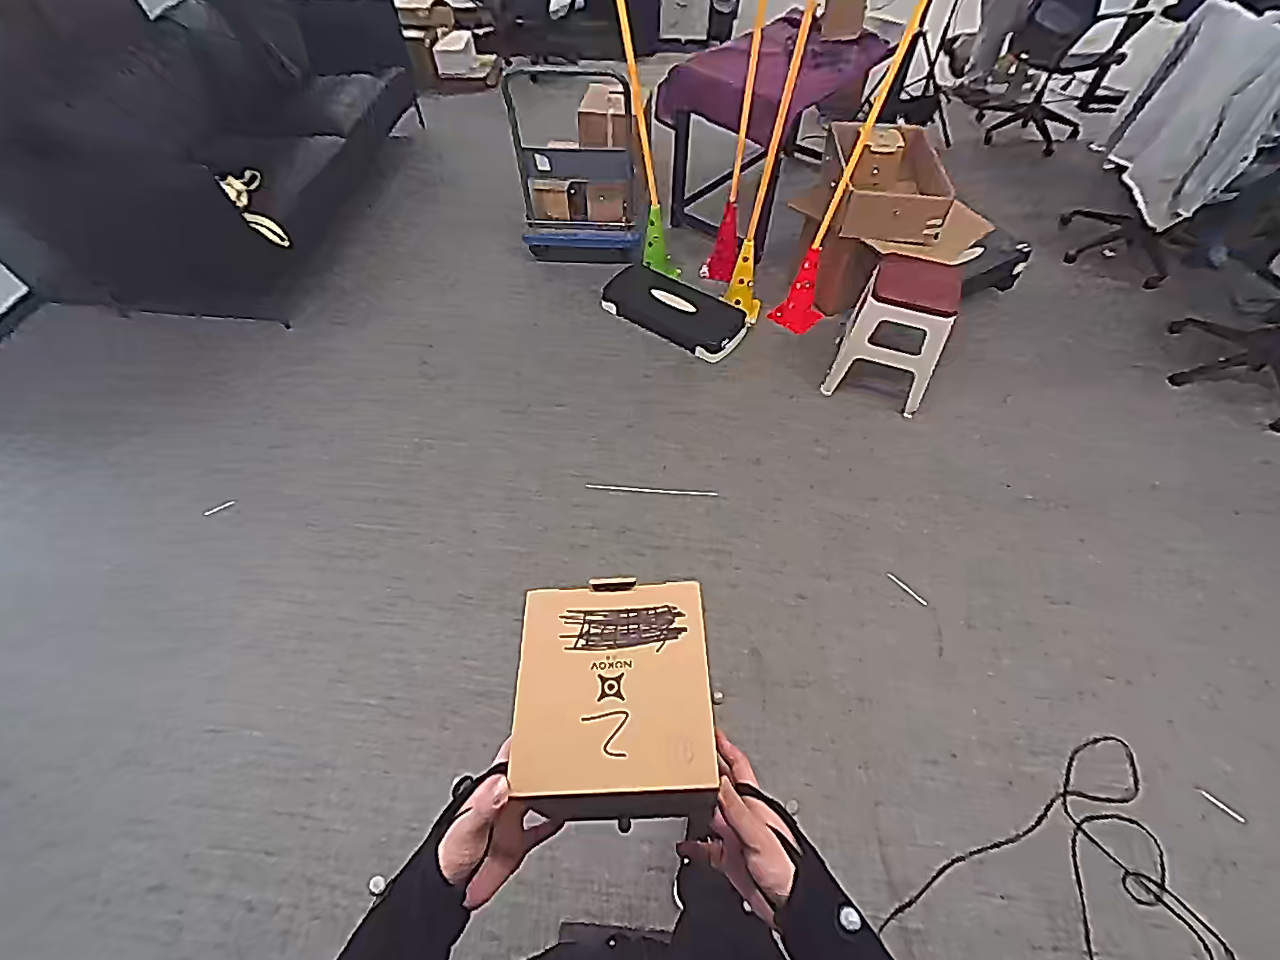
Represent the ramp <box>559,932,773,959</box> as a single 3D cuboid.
[{"bbox_3d":[0.020,1.410,0.890,0.509,0.206,0.991,1,54,3],"label":"ramp"}]
